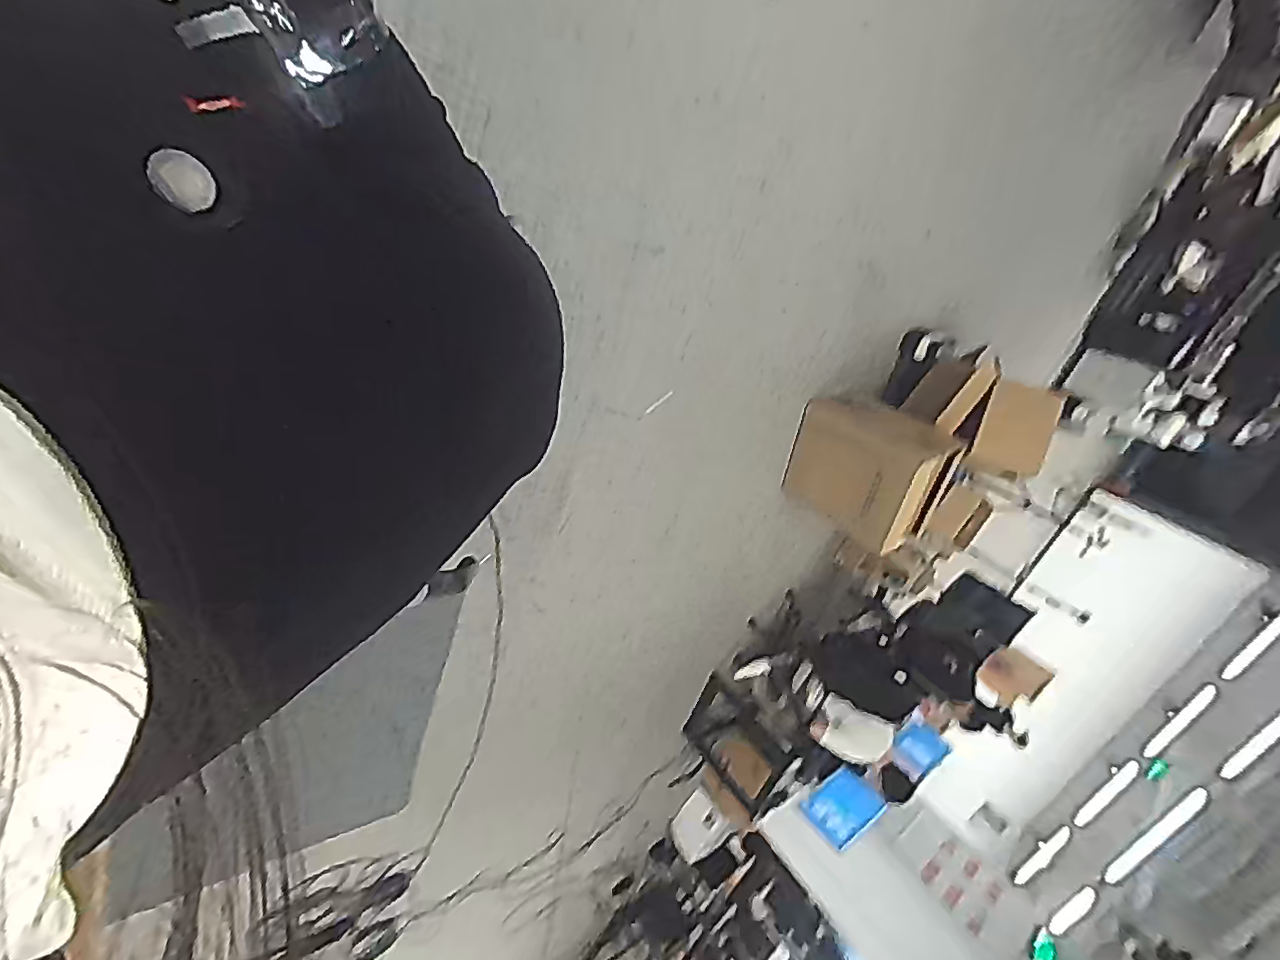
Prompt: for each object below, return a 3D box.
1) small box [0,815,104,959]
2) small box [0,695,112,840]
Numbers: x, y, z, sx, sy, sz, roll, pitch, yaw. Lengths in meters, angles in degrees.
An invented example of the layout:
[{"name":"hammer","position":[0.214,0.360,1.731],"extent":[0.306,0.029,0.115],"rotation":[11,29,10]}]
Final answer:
[{"name":"small box","position":[-0.635,0.468,0.510],"extent":[0.179,0.176,0.168],"rotation":[1,121,-43]},{"name":"small box","position":[-0.730,0.379,0.610],"extent":[0.179,0.176,0.168],"rotation":[-2,122,-40]}]
